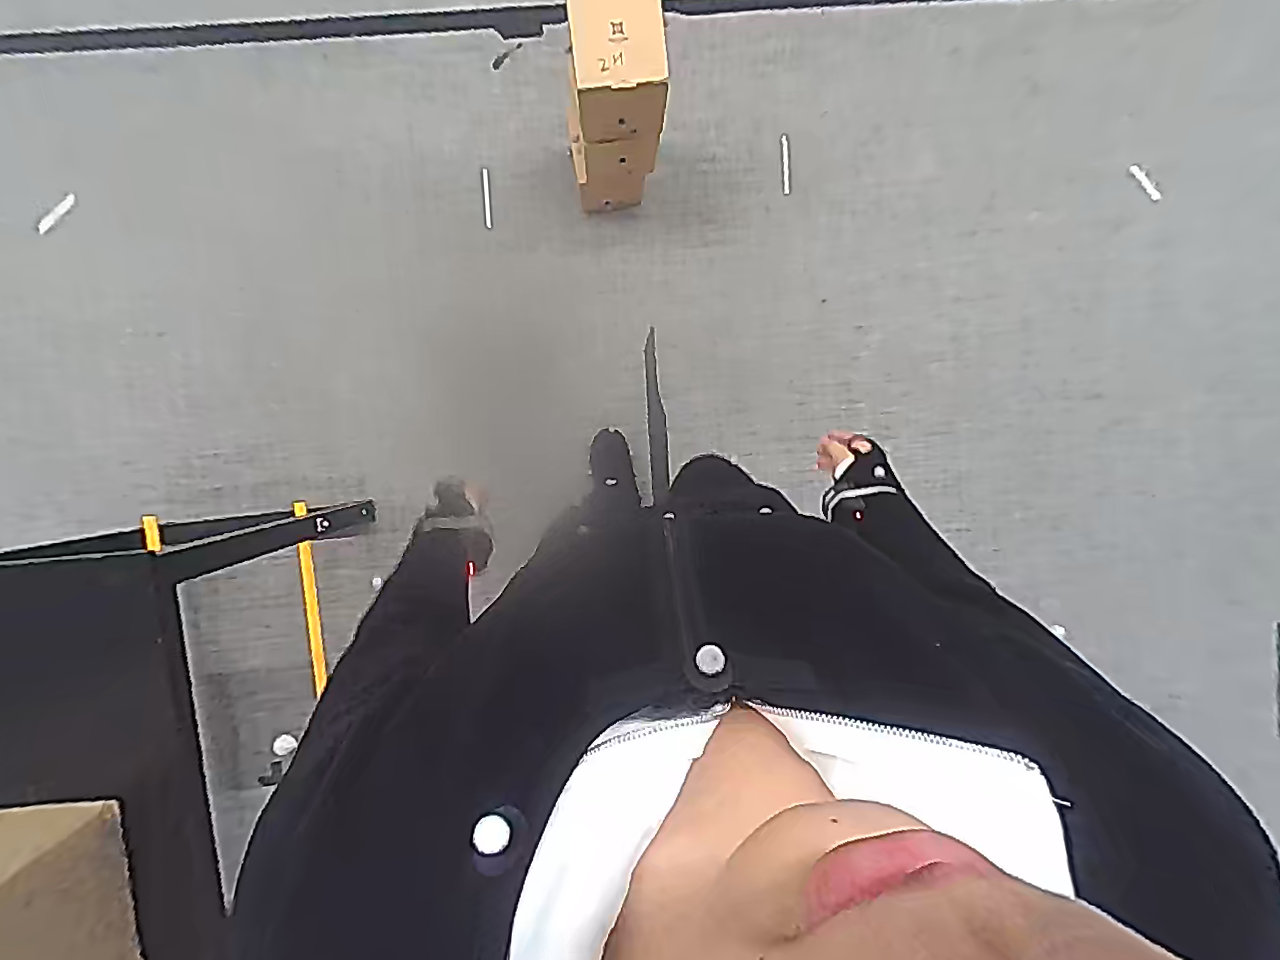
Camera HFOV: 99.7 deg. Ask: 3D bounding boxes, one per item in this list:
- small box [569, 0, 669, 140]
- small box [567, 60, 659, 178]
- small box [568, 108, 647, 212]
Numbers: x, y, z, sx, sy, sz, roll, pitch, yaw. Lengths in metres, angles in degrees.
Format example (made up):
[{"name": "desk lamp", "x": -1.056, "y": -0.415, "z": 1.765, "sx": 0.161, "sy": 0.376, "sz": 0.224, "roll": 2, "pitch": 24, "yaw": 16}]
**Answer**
[{"name": "small box", "x": -0.040, "y": -0.782, "z": 1.020, "sx": 0.168, "sy": 0.176, "sz": 0.179, "roll": -7, "pitch": 95, "yaw": -1}, {"name": "small box", "x": -0.055, "y": -0.789, "z": 1.185, "sx": 0.168, "sy": 0.176, "sz": 0.179, "roll": -12, "pitch": 95, "yaw": -1}, {"name": "small box", "x": -0.080, "y": -0.801, "z": 1.348, "sx": 0.168, "sy": 0.176, "sz": 0.179, "roll": -11, "pitch": 96, "yaw": -1}]
